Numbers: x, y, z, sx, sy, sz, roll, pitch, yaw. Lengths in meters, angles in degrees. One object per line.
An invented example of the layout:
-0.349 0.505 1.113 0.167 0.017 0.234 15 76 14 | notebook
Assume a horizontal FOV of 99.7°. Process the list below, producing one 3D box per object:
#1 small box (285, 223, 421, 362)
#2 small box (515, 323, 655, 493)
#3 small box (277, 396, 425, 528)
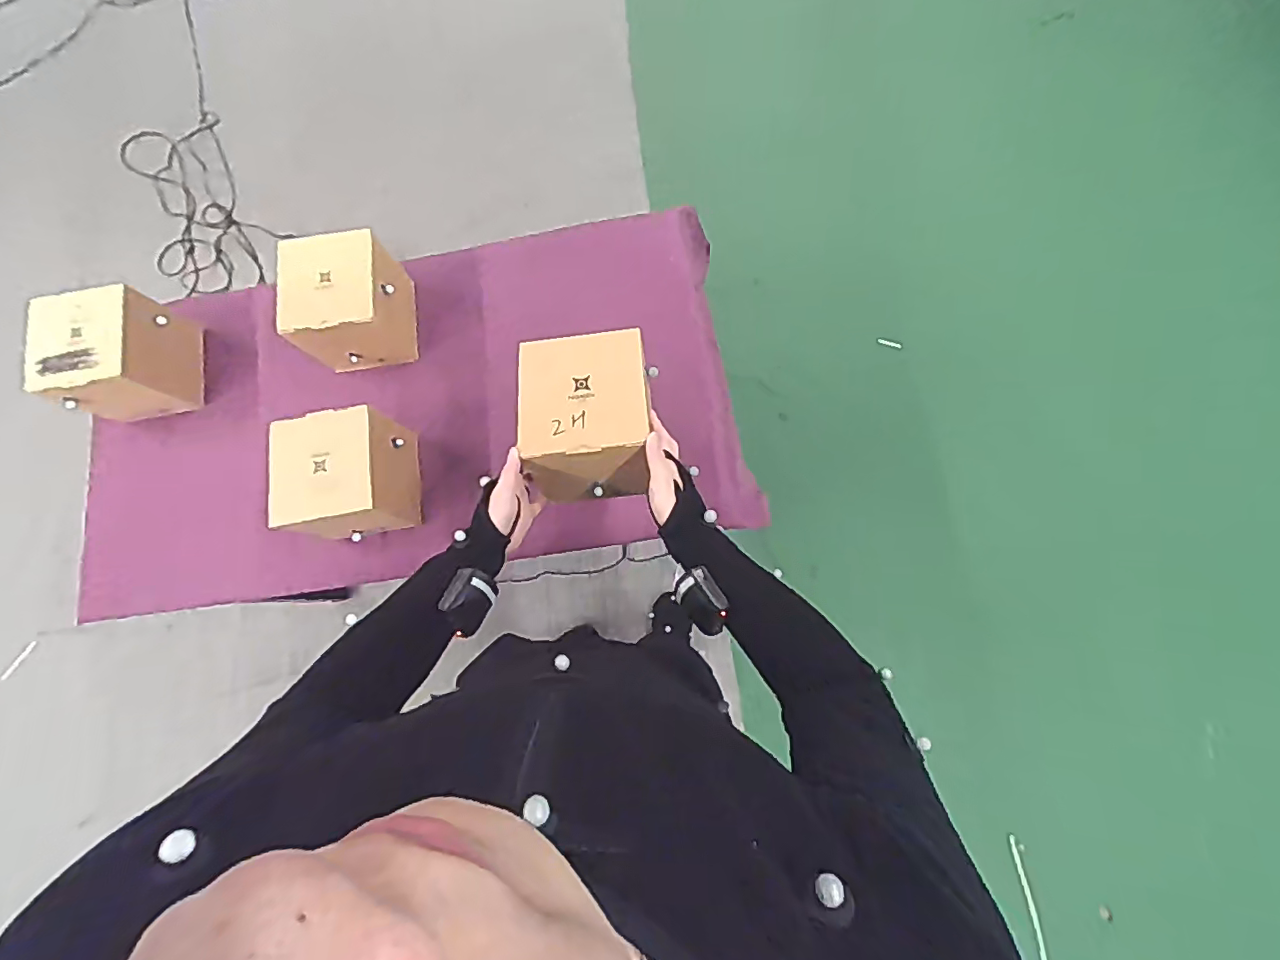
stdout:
-0.525 -0.341 1.009 0.168 0.176 0.179 -7 80 2 | small box
-0.070 -0.095 0.774 0.168 0.176 0.179 -5 68 6 | small box
-0.491 -0.024 0.939 0.168 0.176 0.179 -9 77 3 | small box
